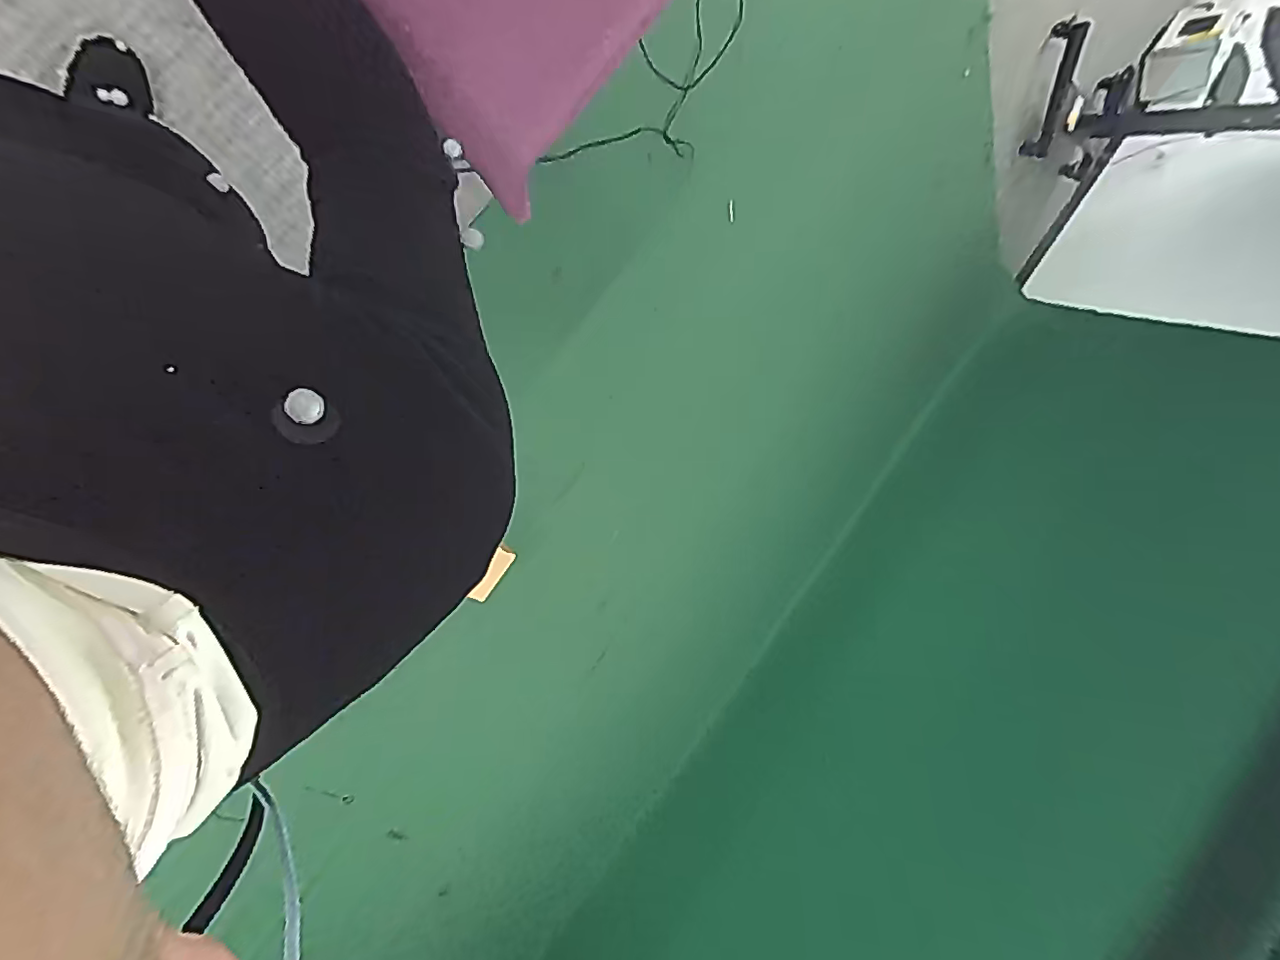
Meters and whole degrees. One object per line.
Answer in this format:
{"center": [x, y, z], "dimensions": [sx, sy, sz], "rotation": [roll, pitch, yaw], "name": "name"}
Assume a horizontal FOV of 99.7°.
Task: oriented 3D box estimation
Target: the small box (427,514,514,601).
{"center": [-0.525, 0.235, 1.654], "dimensions": [0.179, 0.176, 0.168], "rotation": [-55, 136, -3], "name": "small box"}
